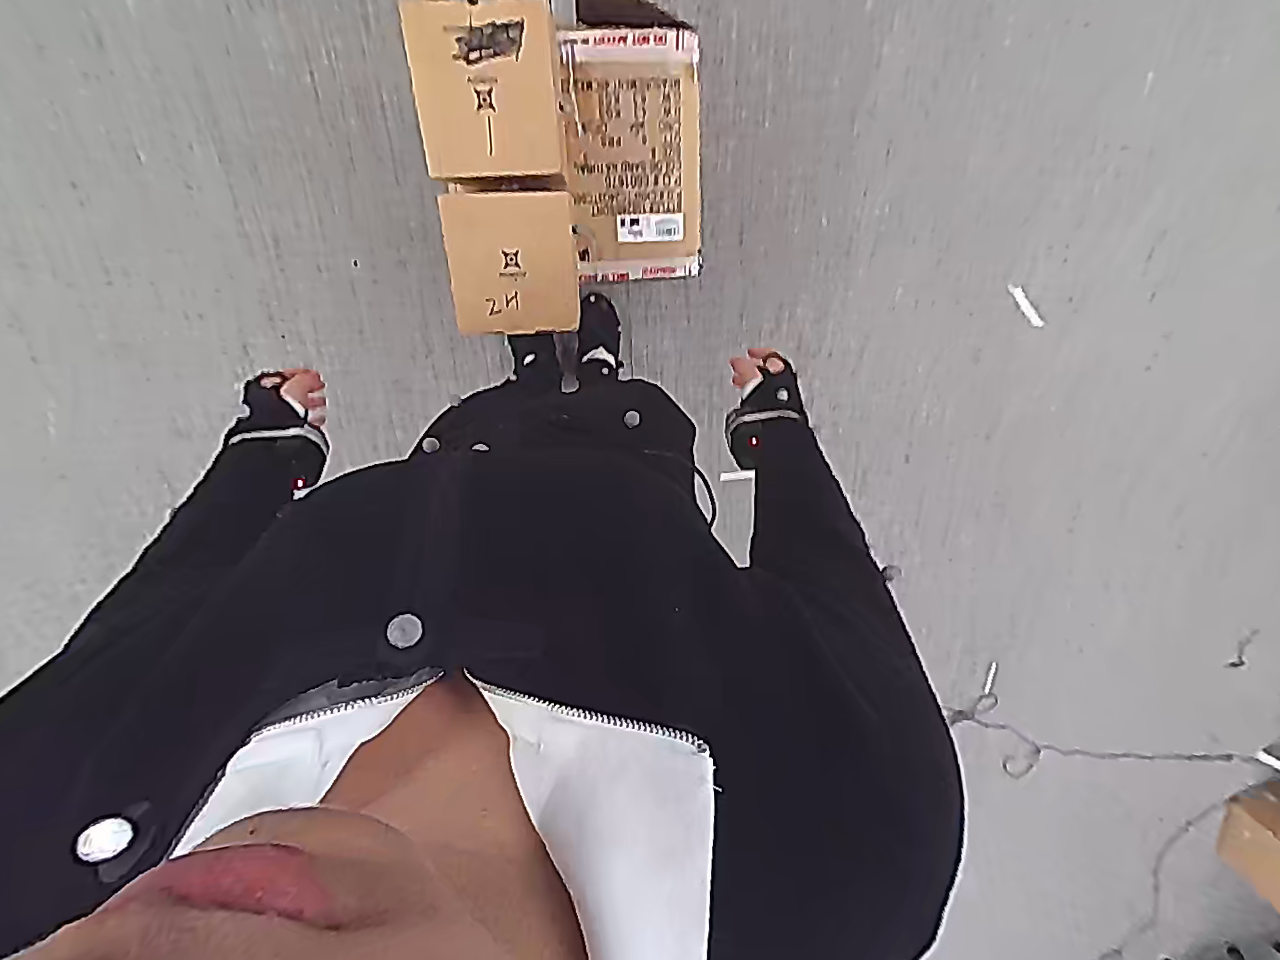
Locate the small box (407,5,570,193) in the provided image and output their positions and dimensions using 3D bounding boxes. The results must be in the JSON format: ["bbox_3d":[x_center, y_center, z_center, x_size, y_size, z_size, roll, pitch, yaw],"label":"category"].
[{"bbox_3d":[-0.184,-0.486,0.714,0.168,0.176,0.179,-3,115,-2],"label":"small box"}]
